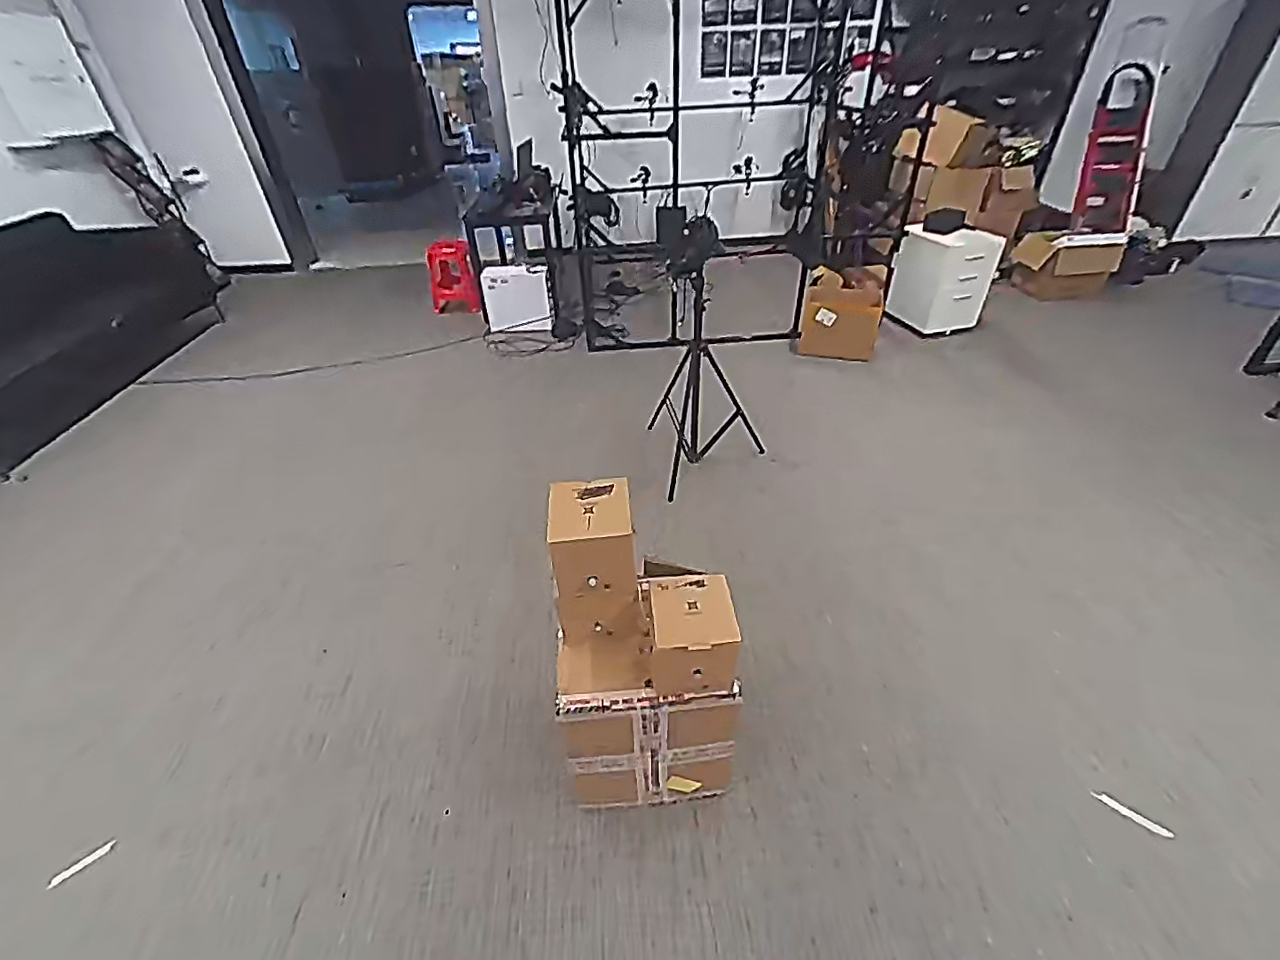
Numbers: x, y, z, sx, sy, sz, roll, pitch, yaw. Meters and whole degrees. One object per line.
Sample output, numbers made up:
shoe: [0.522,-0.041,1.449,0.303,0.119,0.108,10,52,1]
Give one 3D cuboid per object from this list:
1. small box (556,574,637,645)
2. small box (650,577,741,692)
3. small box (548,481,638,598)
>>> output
small box: [-0.102,0.251,1.244,0.168,0.176,0.179,-8,40,-4]
small box: [0.110,0.327,1.135,0.168,0.176,0.179,-3,40,-3]
small box: [-0.095,0.124,1.138,0.168,0.176,0.179,-6,40,-1]
